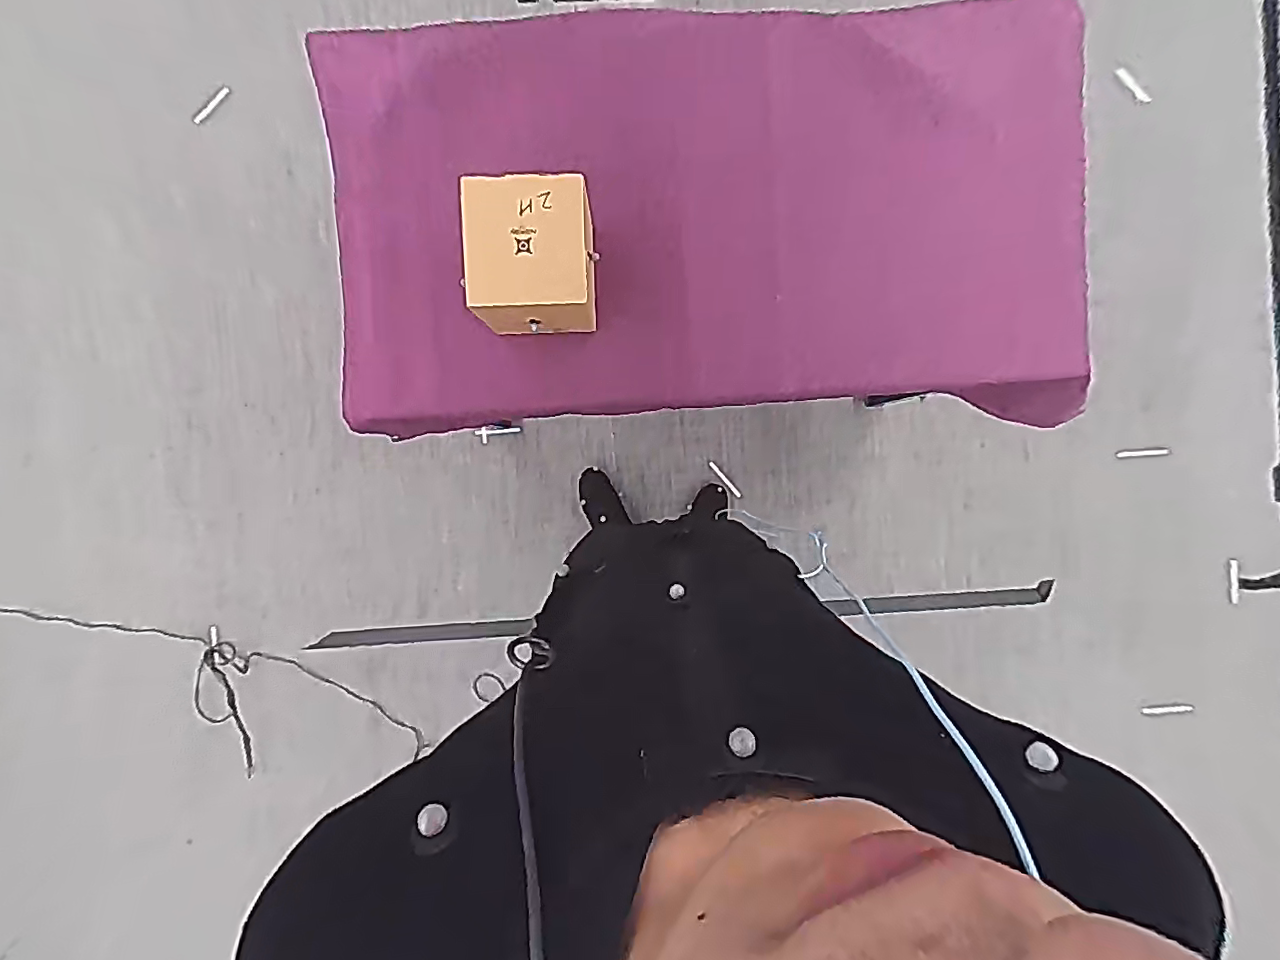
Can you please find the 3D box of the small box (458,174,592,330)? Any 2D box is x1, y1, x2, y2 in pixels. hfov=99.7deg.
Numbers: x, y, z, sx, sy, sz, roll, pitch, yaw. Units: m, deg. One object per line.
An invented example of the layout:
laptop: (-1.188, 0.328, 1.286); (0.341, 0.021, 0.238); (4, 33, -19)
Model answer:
small box: (-0.160, -0.324, 0.802); (0.168, 0.176, 0.179); (-2, 93, -1)
